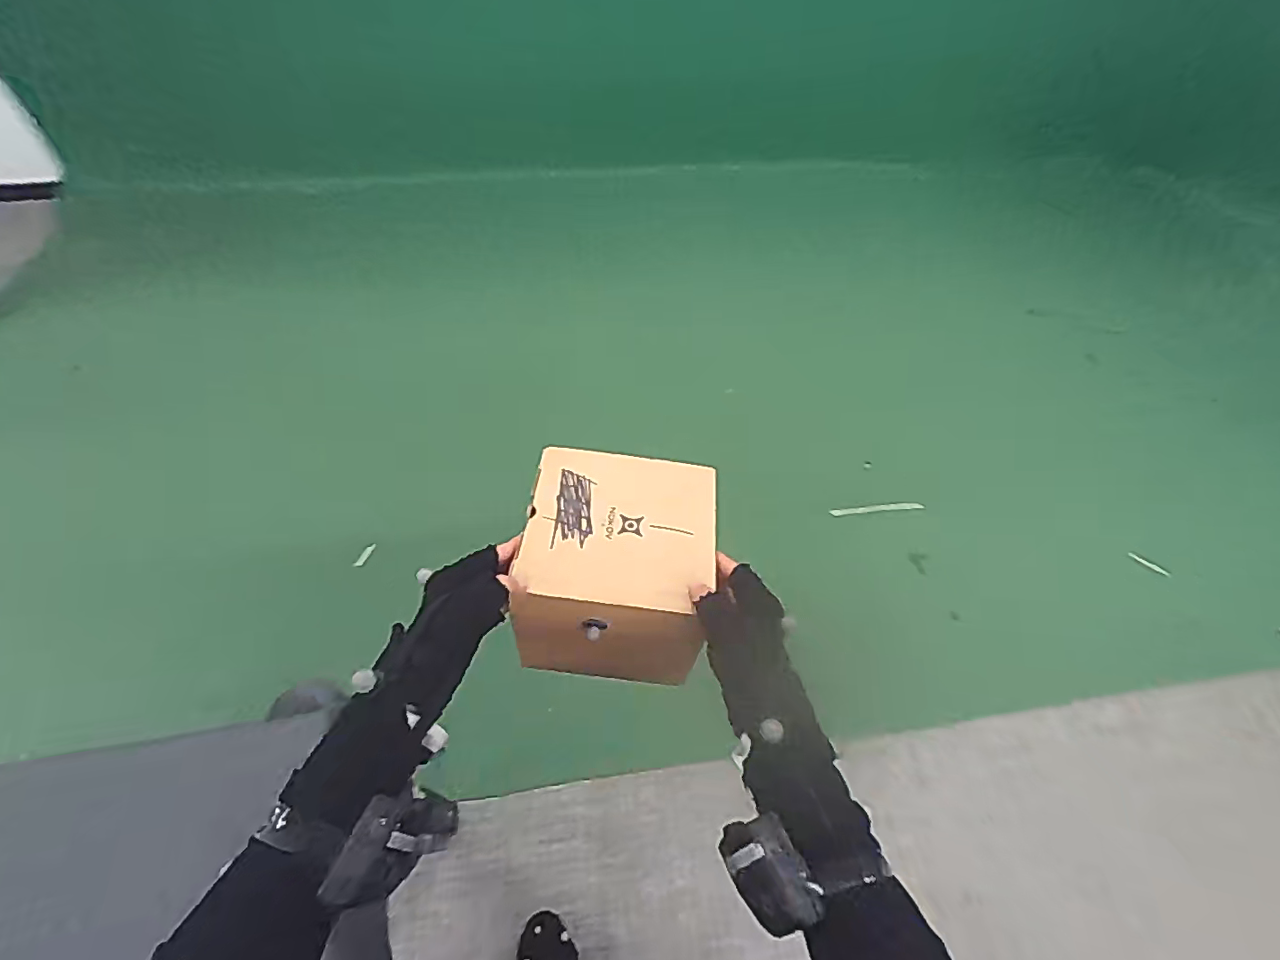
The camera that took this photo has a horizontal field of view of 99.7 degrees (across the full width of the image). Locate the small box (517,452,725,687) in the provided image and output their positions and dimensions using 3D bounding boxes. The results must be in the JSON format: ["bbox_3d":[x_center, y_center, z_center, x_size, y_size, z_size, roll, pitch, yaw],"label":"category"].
[{"bbox_3d":[-0.016,0.097,0.554,0.179,0.176,0.168,9,50,-1],"label":"small box"}]
